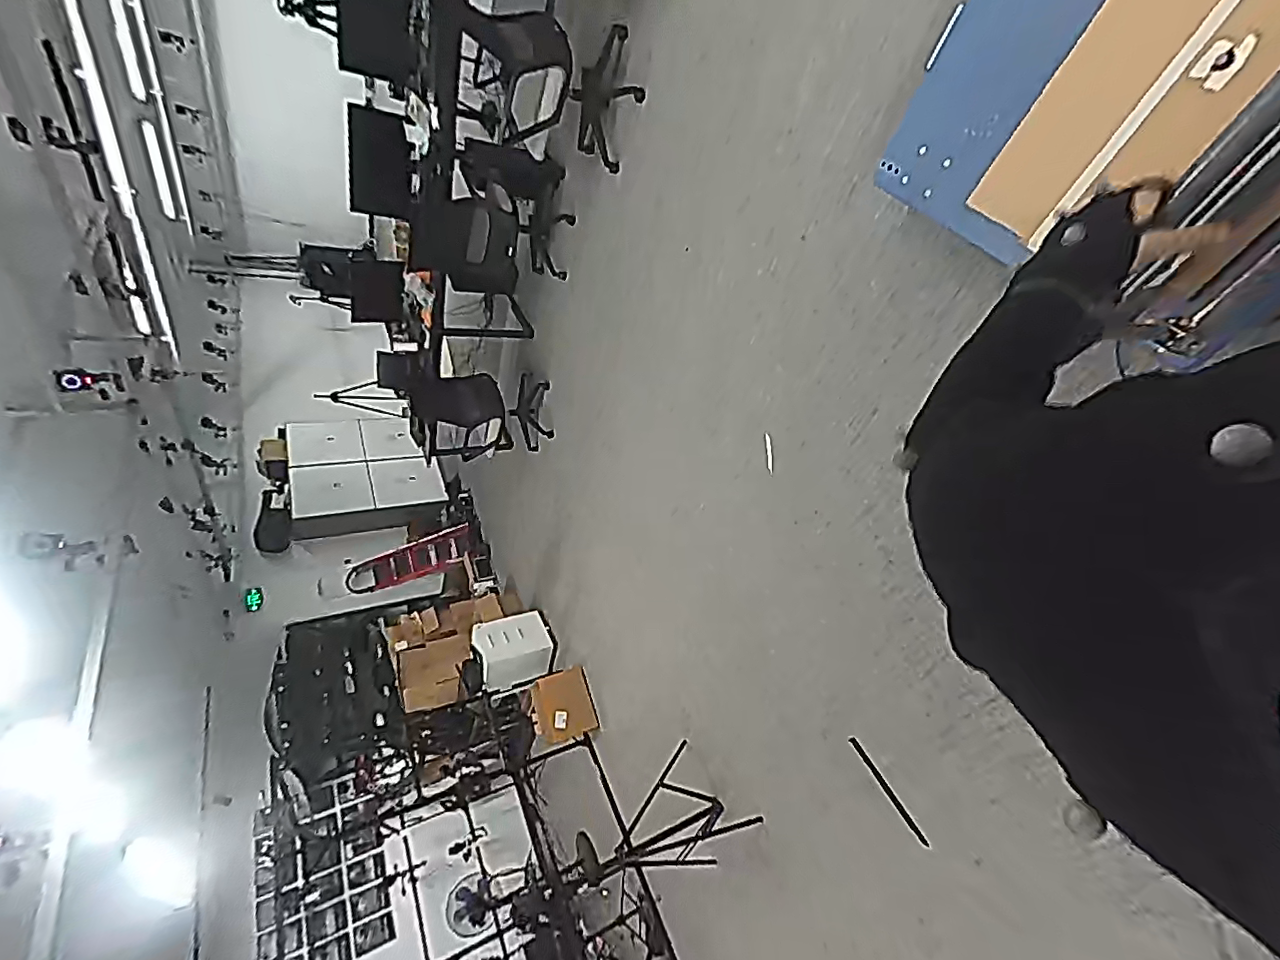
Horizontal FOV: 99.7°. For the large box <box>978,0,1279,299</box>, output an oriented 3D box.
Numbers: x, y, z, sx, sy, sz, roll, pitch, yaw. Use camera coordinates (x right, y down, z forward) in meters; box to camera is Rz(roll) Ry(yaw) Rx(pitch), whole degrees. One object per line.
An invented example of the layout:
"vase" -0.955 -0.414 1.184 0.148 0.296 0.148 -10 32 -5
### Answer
"large box" 0.861 -0.550 0.850 0.320 0.320 0.408 59 141 33
